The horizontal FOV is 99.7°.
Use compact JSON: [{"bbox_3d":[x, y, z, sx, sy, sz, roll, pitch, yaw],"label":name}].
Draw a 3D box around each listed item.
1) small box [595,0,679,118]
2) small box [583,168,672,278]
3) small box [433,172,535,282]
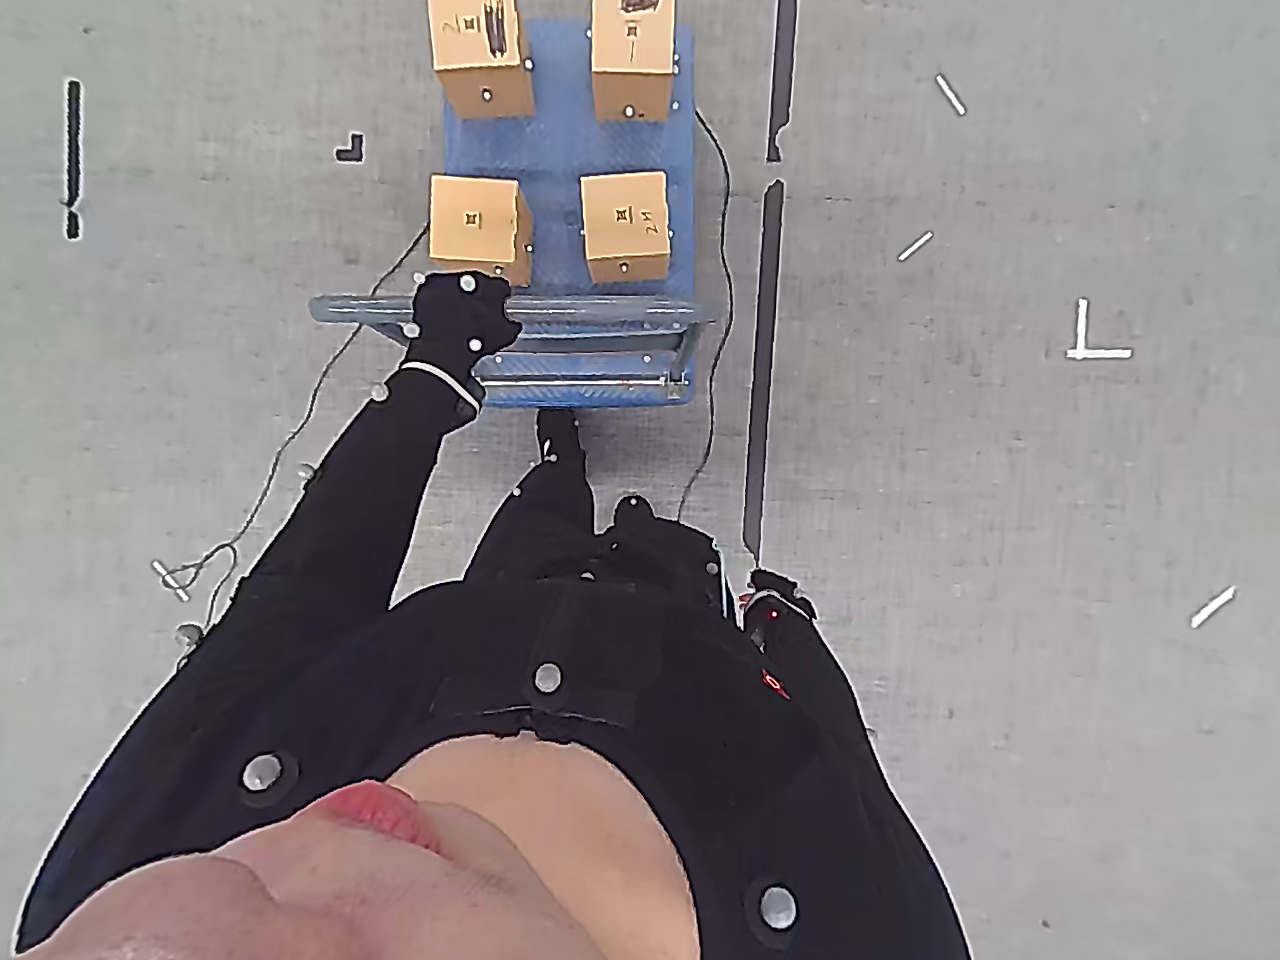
[{"bbox_3d":[-0.008,-0.913,1.149,0.168,0.176,0.179,1,95,0],"label":"small box"},{"bbox_3d":[-0.023,-0.549,1.175,0.179,0.176,0.168,-4,94,0],"label":"small box"},{"bbox_3d":[-0.333,-0.541,1.176,0.179,0.176,0.168,3,94,-2],"label":"small box"}]
